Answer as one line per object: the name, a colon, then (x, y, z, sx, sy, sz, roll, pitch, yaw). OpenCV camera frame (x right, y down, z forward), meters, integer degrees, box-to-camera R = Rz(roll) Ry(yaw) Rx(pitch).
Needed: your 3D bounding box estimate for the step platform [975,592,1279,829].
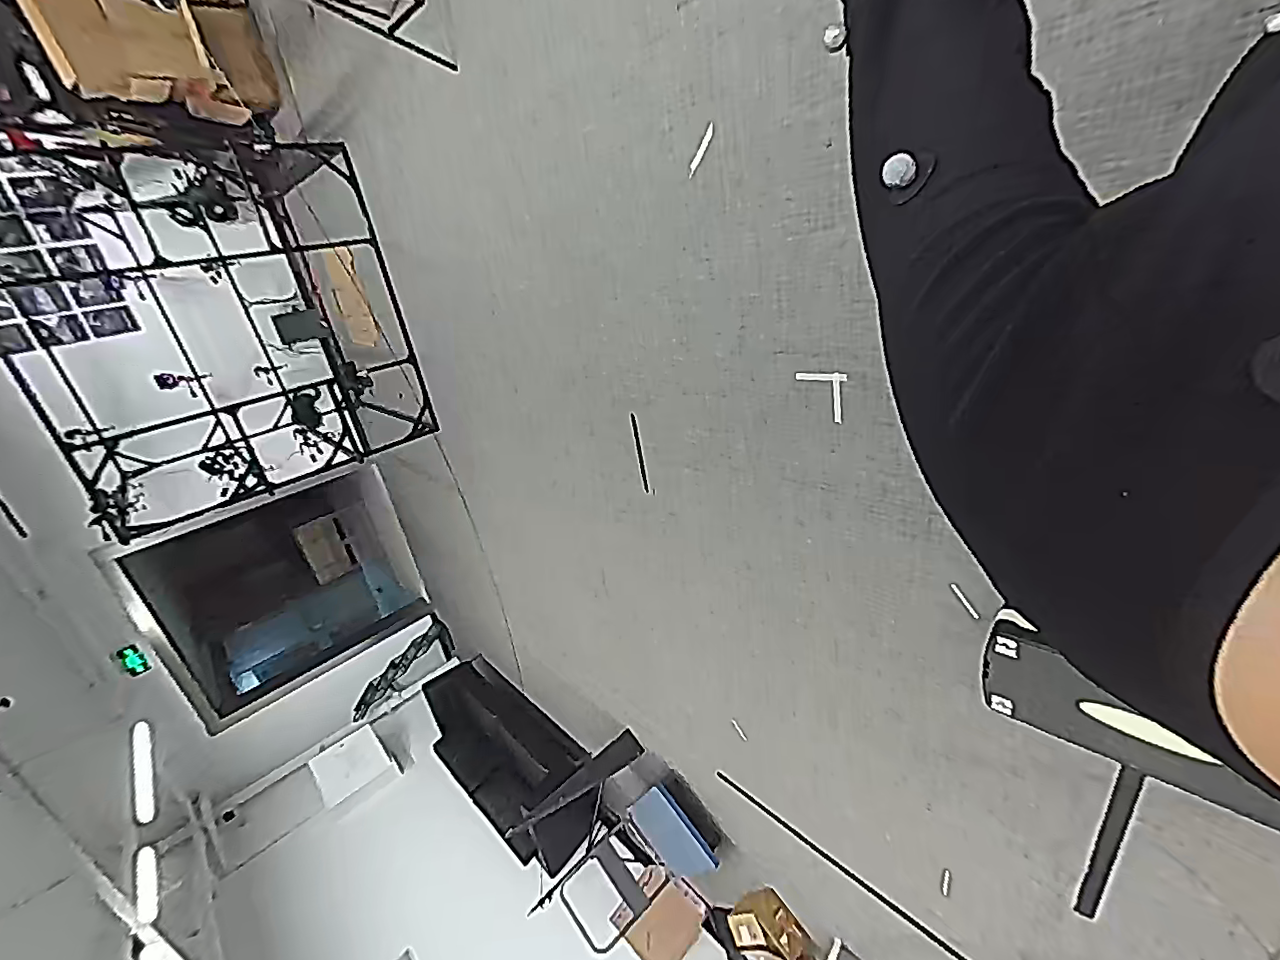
step platform: (1.189, 0.516, 1.271, 0.684, 0.204, 0.286, 15, 124, 48)
